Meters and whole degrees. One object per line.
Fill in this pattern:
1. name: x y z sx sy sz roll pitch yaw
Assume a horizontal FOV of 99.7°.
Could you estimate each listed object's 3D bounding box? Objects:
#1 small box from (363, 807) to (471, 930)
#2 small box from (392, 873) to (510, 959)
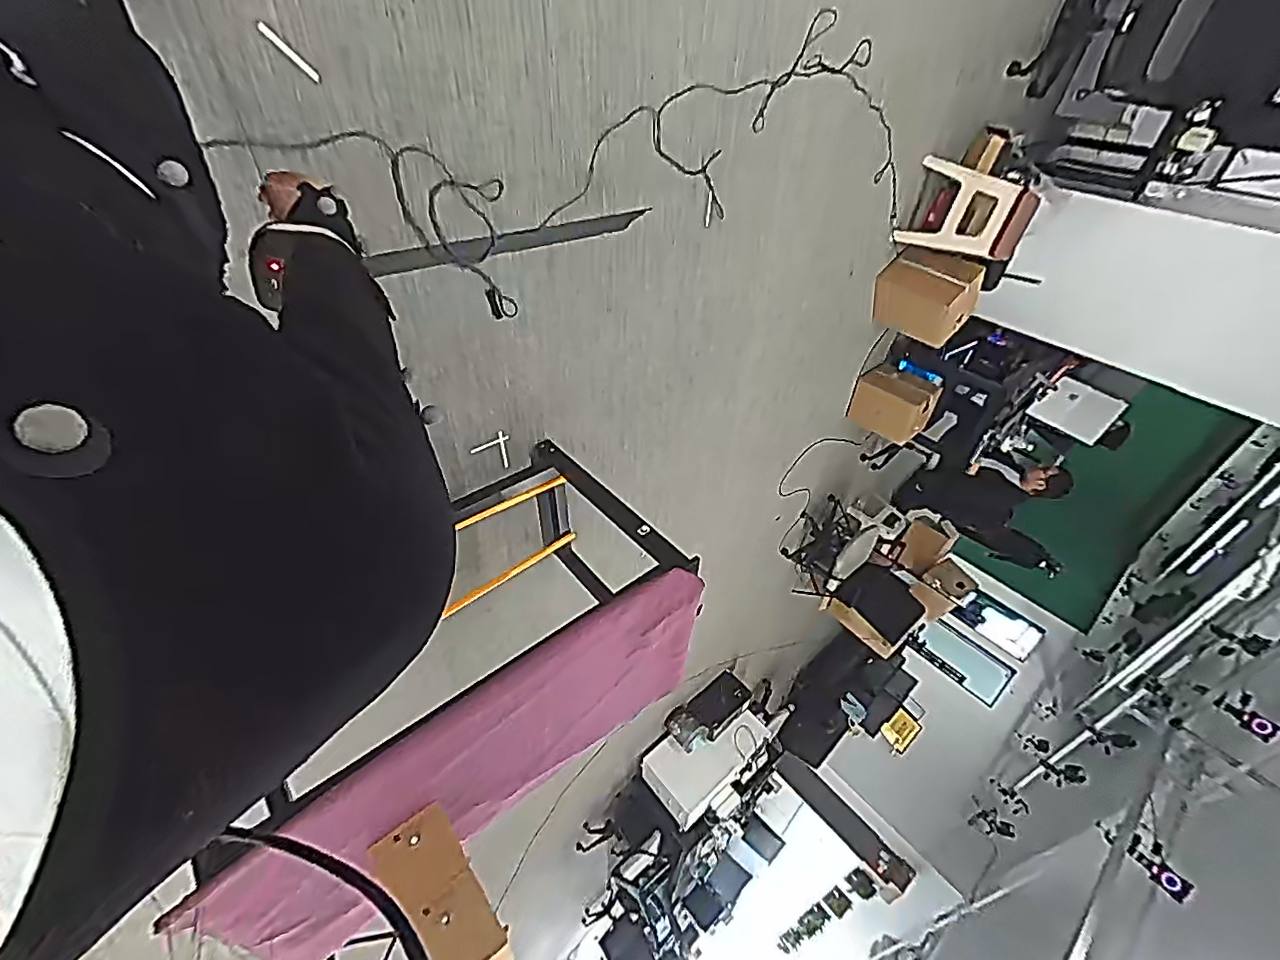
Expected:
1. small box: -0.490 0.876 1.205 0.168 0.176 0.179 -25 138 -34
2. small box: -0.384 0.962 1.112 0.168 0.176 0.179 -26 138 -34
